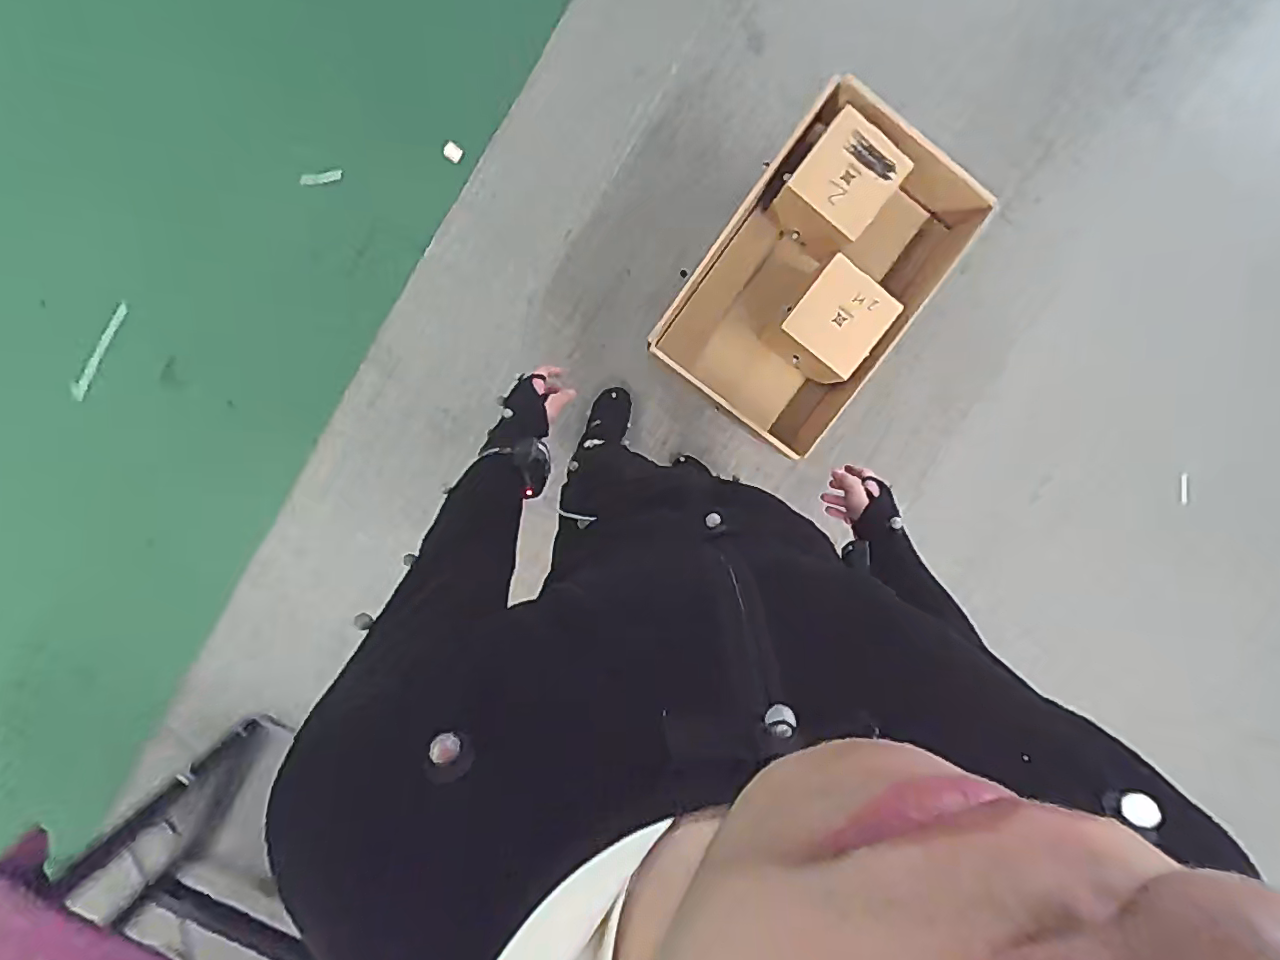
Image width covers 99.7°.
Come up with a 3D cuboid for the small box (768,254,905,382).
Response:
[{"bbox_3d":[0.378,-0.310,1.082,0.168,0.176,0.179,38,96,-7],"label":"small box"}]
